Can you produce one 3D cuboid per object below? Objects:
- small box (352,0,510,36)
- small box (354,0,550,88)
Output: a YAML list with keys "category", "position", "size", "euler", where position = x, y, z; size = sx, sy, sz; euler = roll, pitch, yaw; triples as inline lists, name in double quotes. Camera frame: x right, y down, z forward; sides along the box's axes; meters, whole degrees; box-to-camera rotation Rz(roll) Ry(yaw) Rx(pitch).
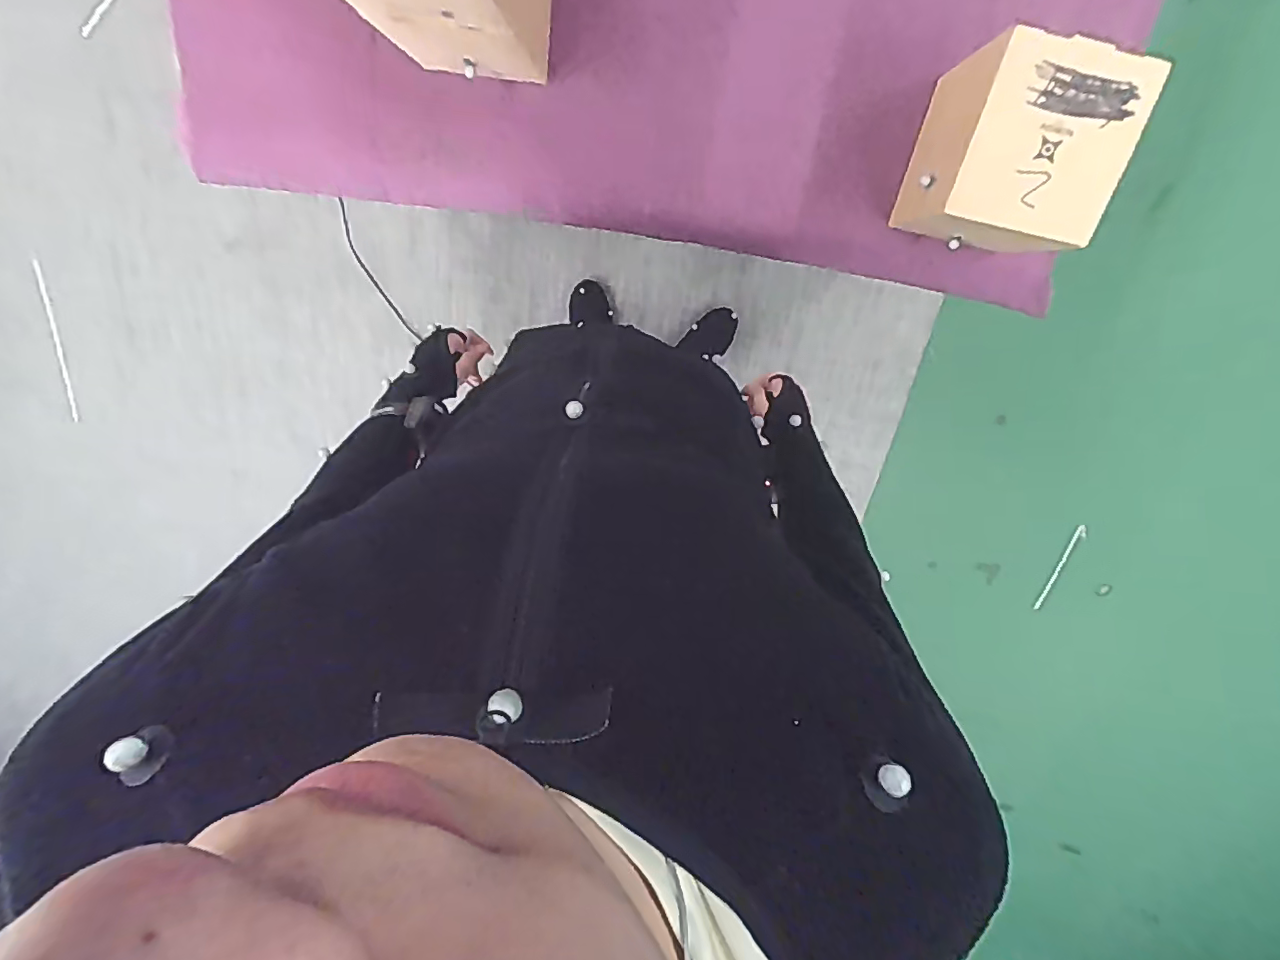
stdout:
- category: "small box"
  position: [-0.206, -0.516, 0.447]
  size: [0.168, 0.176, 0.179]
  euler: [8, 111, 1]
- category: "small box"
  position: [-0.198, -0.574, 0.600]
  size: [0.168, 0.176, 0.179]
  euler: [8, 112, 0]
